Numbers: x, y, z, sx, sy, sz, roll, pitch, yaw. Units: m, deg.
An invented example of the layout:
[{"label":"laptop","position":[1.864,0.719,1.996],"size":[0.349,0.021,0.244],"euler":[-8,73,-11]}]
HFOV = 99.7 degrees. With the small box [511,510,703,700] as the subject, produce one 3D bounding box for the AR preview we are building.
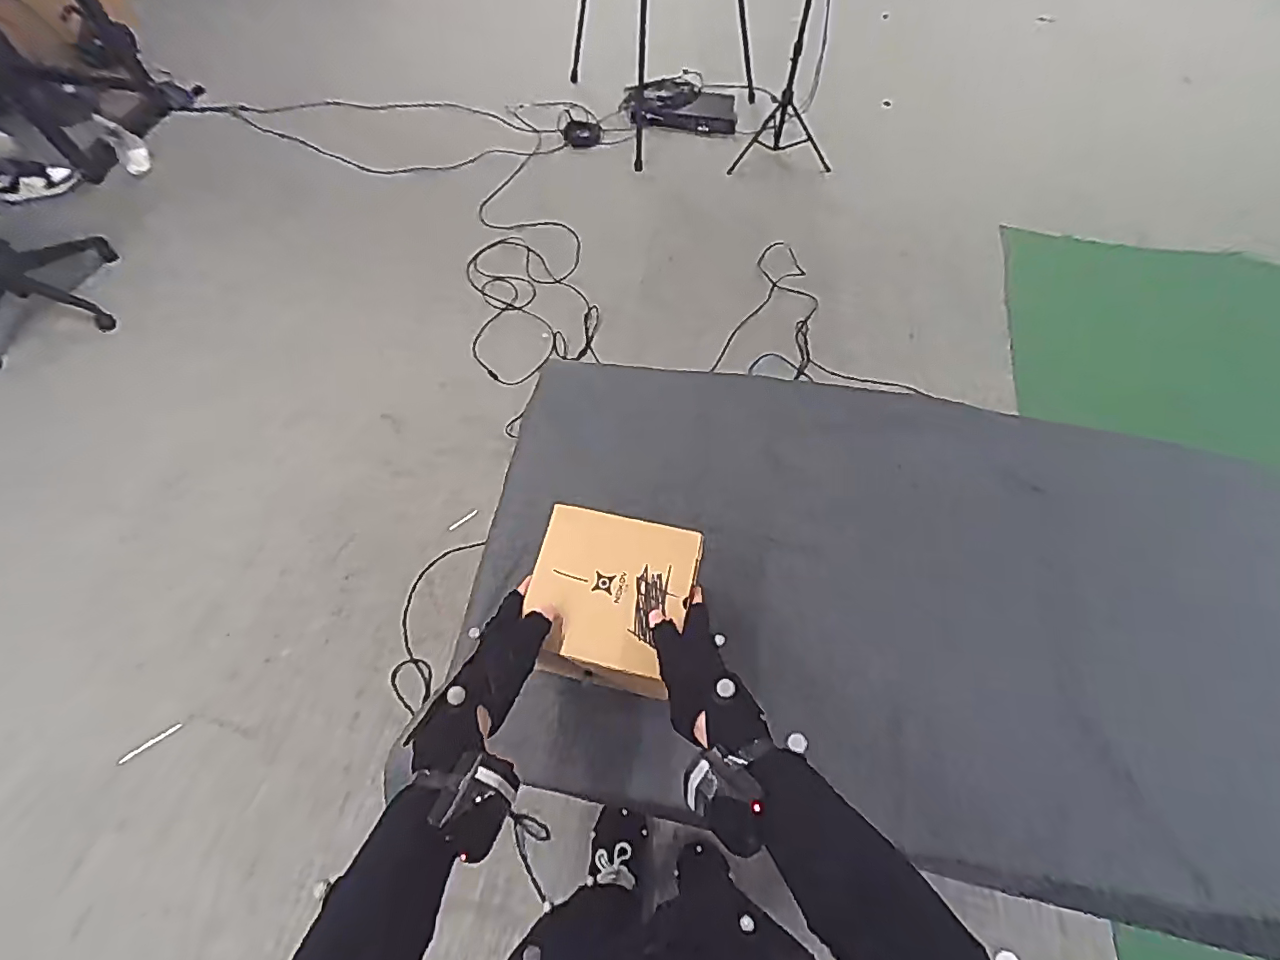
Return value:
[{"label":"small box","position":[-0.031,0.158,0.652],"size":[0.179,0.176,0.168],"euler":[11,62,6]}]
